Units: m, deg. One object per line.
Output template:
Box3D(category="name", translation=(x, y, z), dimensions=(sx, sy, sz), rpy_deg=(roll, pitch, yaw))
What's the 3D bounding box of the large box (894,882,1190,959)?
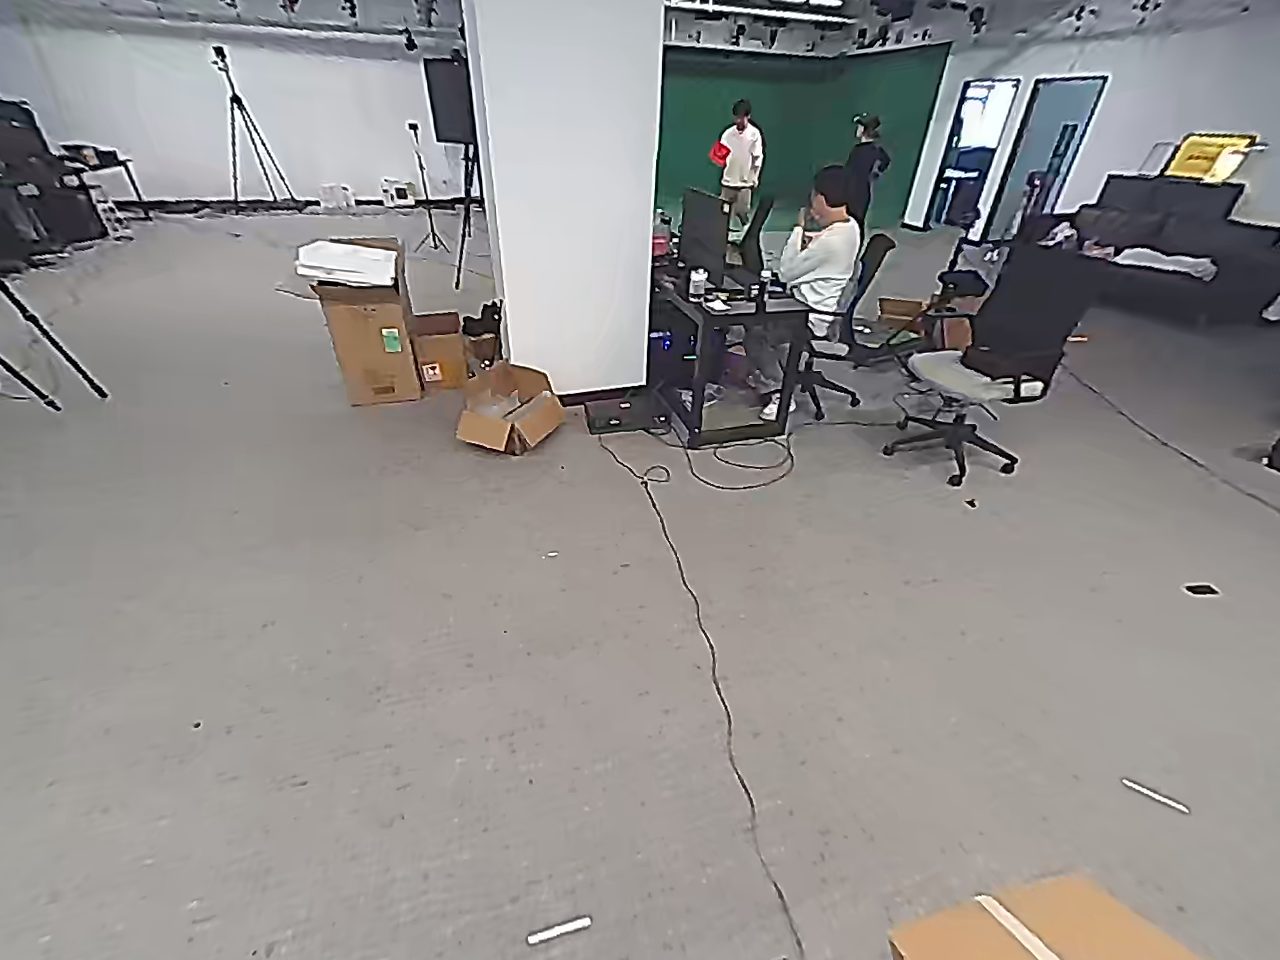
Box3D(category="large box", translation=(0.555, 0.754, 0.586), dimensions=(0.320, 0.320, 0.408), rpy_deg=(-12, -4, -5))
